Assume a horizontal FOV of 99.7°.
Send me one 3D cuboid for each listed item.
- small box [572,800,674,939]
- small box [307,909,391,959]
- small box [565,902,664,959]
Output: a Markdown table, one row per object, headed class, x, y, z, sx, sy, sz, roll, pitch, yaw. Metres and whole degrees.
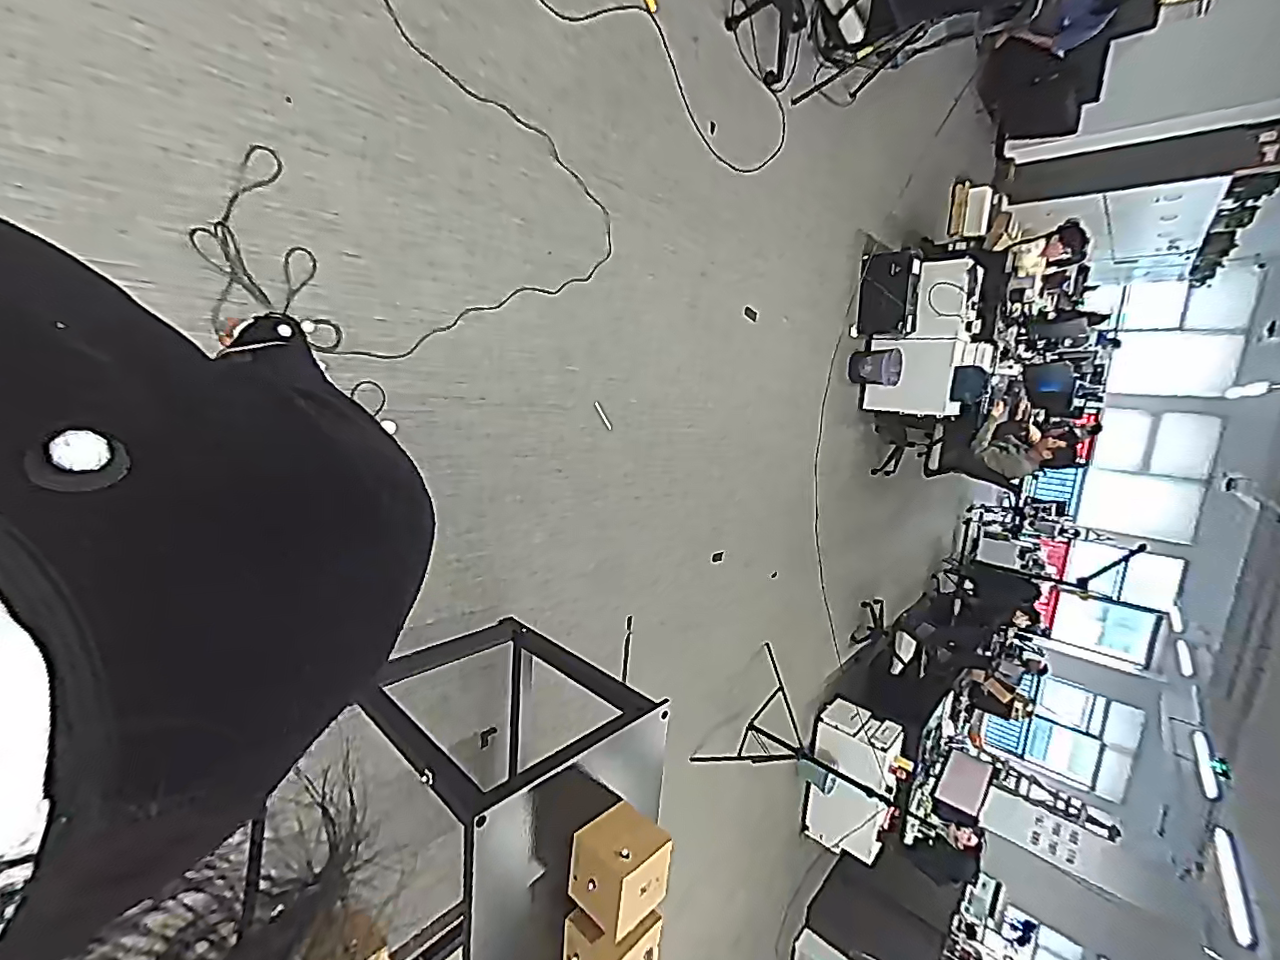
| class | x | y | z | sx | sy | sz | roll | pitch | yaw |
| --- | --- | --- | --- | --- | --- | --- | --- | --- | --- |
| small box | -0.044 | 0.921 | 1.298 | 0.179 | 0.176 | 0.168 | -3 | 102 | -48 |
| small box | -0.869 | 1.454 | 1.618 | 0.179 | 0.176 | 0.168 | -9 | 105 | -48 |
| small box | -0.063 | 1.141 | 1.334 | 0.179 | 0.176 | 0.168 | -7 | 105 | -47 |
